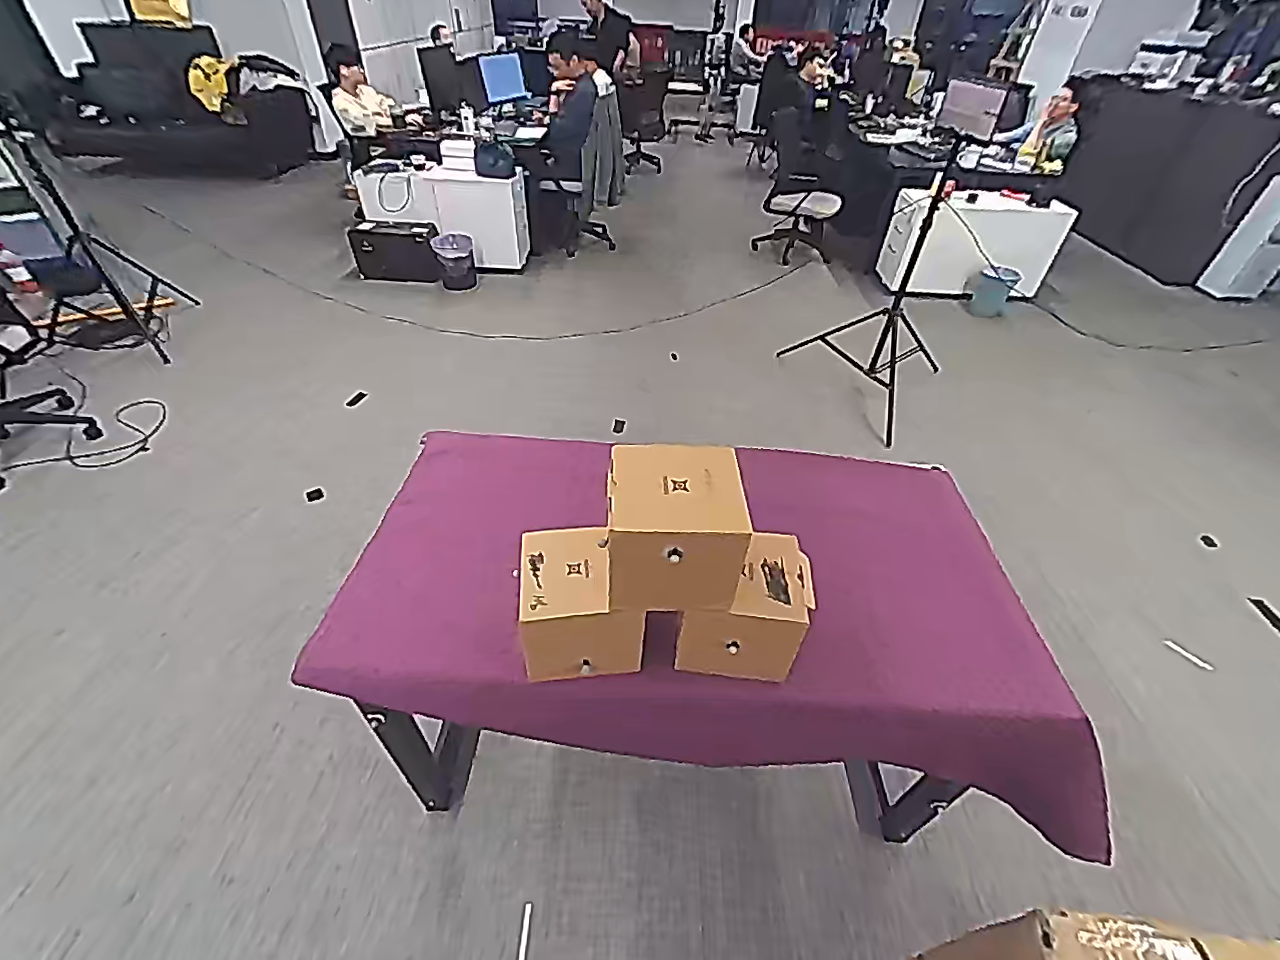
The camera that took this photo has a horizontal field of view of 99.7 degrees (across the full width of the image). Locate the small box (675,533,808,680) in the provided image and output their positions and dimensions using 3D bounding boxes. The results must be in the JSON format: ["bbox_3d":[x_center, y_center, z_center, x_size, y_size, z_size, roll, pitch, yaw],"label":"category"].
[{"bbox_3d":[0.155,0.199,0.865,0.179,0.176,0.168,5,41,4],"label":"small box"}]

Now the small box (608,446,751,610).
[{"bbox_3d":[0.045,0.069,0.761,0.179,0.176,0.168,1,42,-3],"label":"small box"}]

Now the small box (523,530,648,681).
[{"bbox_3d":[-0.090,0.196,0.855,0.179,0.176,0.168,-3,41,-8],"label":"small box"}]
